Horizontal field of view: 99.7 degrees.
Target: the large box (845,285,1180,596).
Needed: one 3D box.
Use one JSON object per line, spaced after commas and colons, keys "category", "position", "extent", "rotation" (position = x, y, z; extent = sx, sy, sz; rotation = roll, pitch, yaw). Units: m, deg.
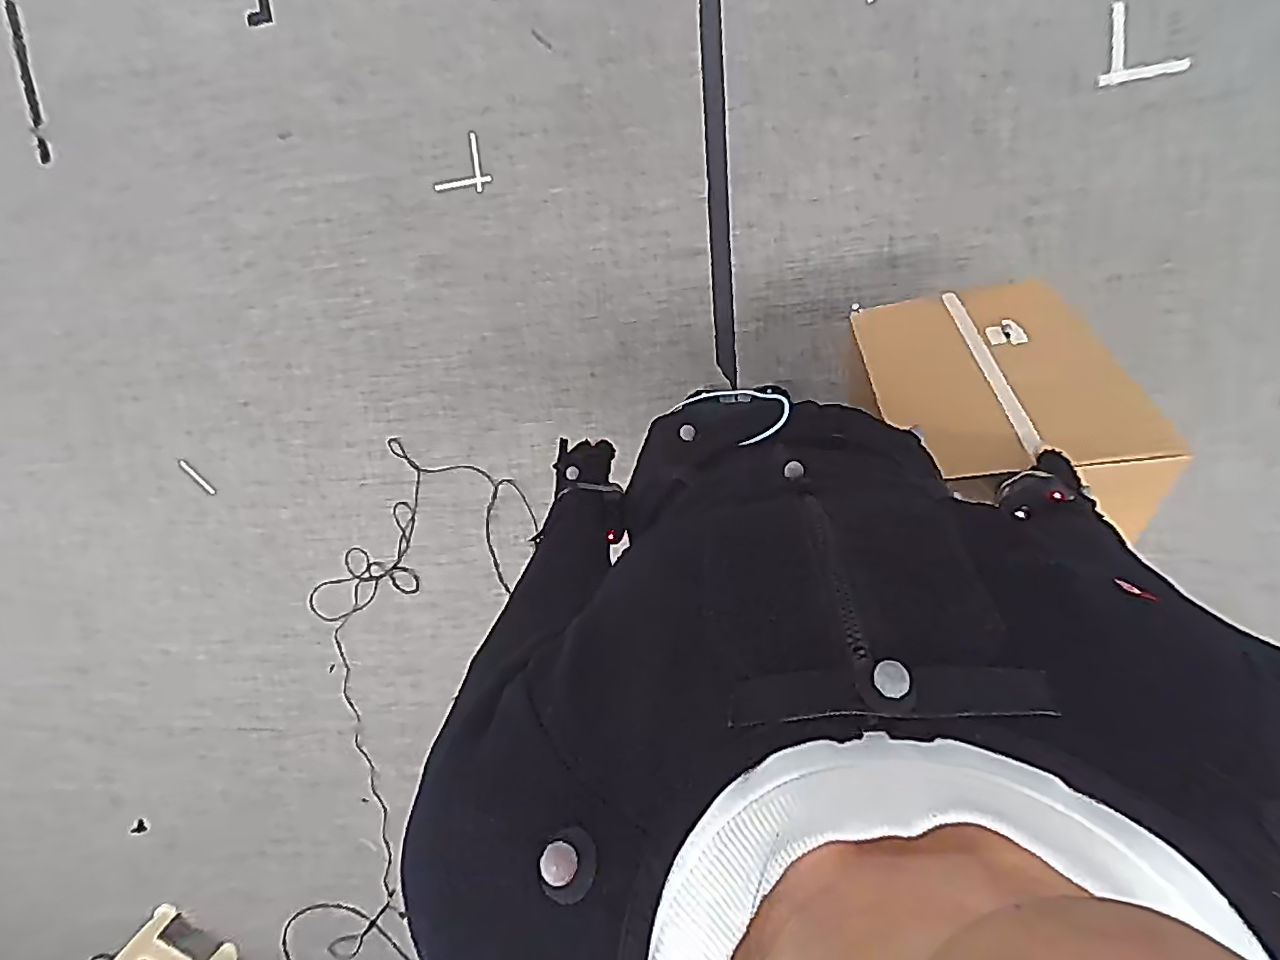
{"category": "large box", "position": [0.545, -0.063, 0.909], "extent": [0.320, 0.408, 0.320], "rotation": [-6, 137, 12]}
